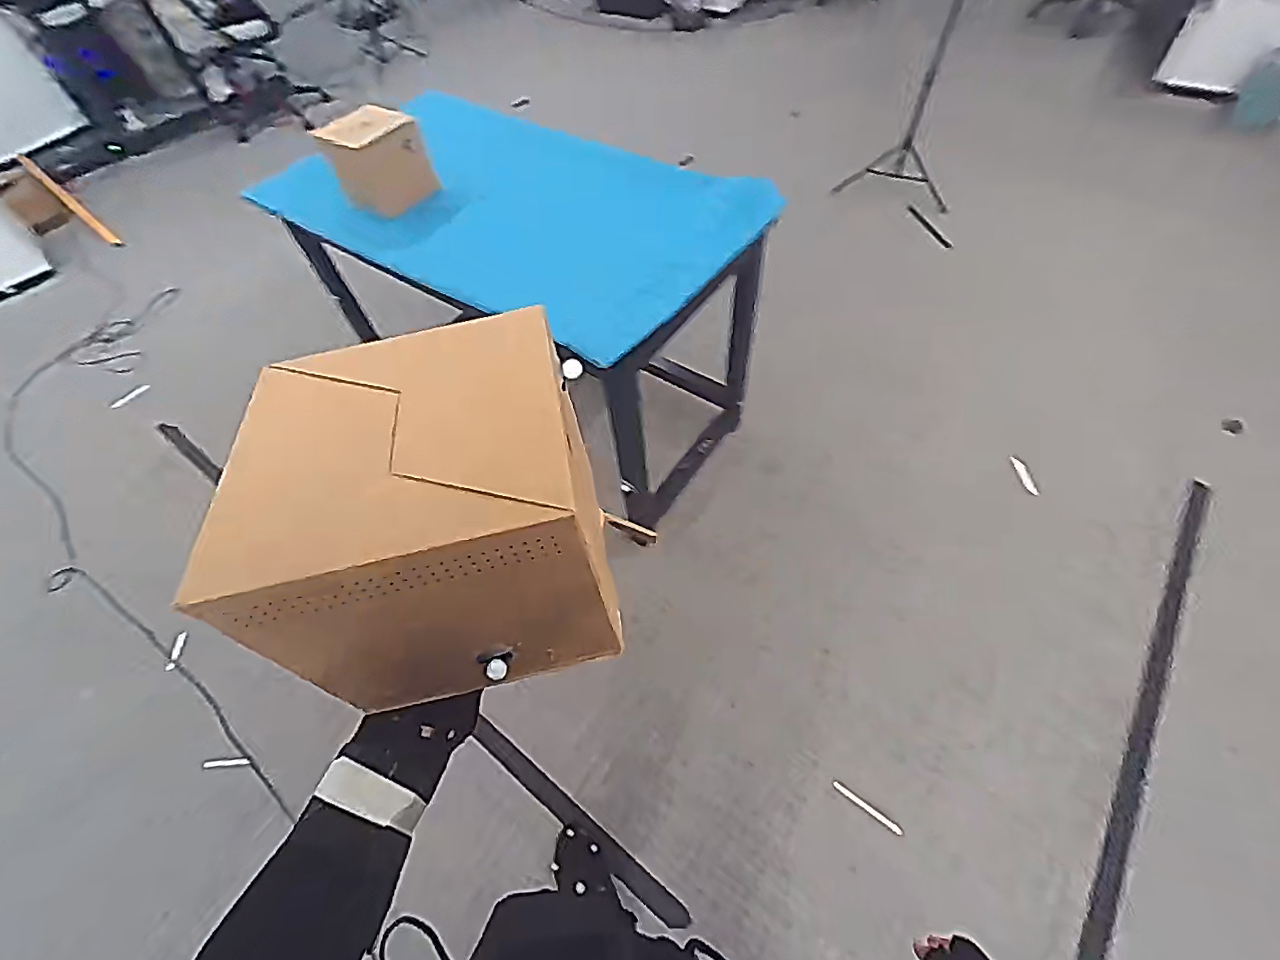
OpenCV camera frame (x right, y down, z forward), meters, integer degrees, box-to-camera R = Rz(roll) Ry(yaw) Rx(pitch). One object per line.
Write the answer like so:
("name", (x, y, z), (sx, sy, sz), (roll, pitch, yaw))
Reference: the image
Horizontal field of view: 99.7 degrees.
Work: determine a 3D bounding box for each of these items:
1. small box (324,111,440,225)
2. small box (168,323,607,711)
("small box", (-0.624, -0.772, 1.341), (0.168, 0.176, 0.179), (31, 67, 24))
("small box", (-0.131, 0.024, 0.346), (0.179, 0.176, 0.168), (-13, 51, -2))
